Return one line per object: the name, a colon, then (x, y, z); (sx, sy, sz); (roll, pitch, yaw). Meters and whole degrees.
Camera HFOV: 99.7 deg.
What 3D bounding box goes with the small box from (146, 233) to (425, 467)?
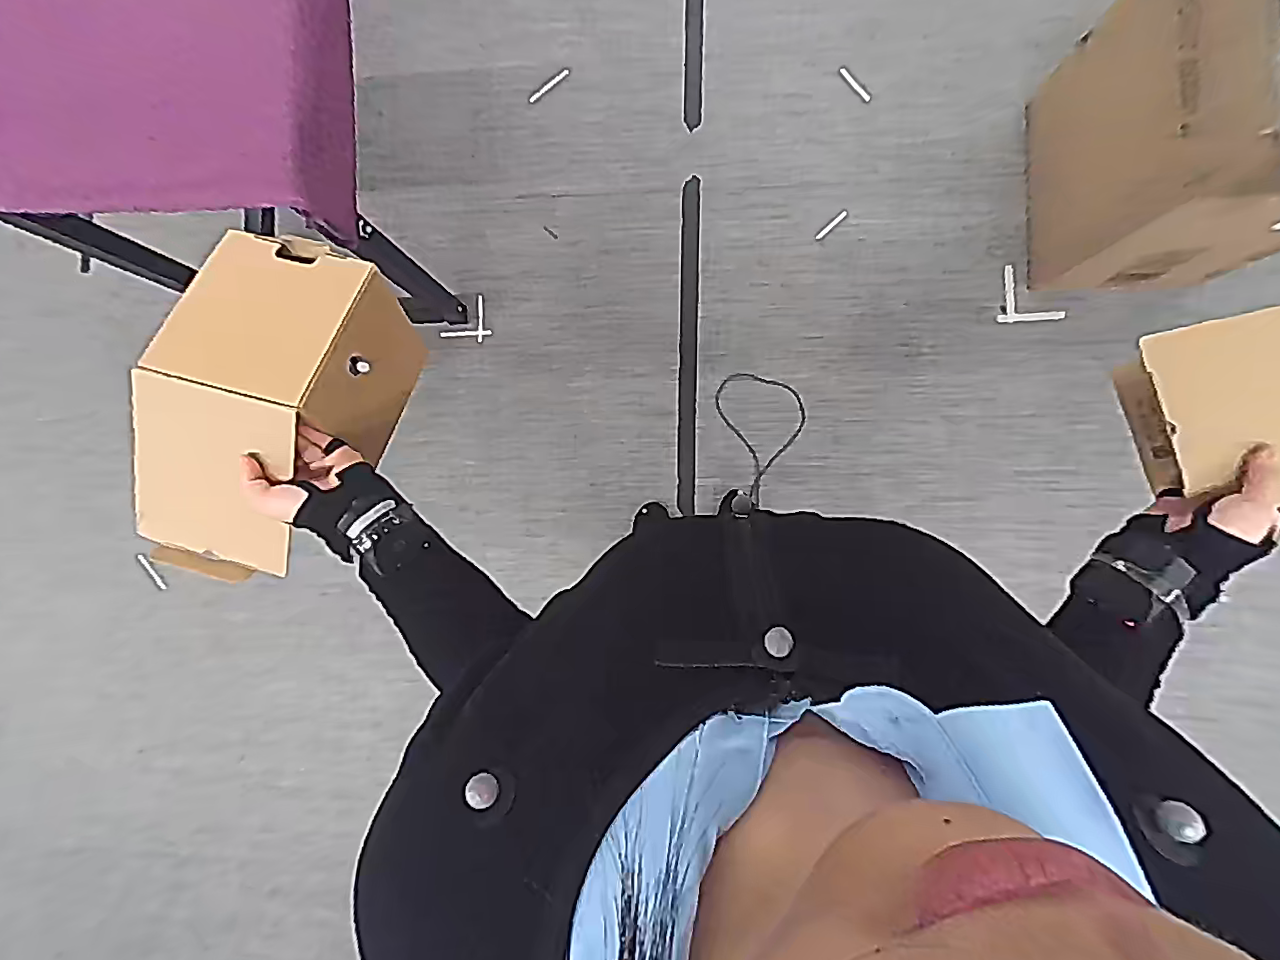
small box: (-0.368, -0.134, 0.606); (0.168, 0.176, 0.179); (14, 69, 3)
